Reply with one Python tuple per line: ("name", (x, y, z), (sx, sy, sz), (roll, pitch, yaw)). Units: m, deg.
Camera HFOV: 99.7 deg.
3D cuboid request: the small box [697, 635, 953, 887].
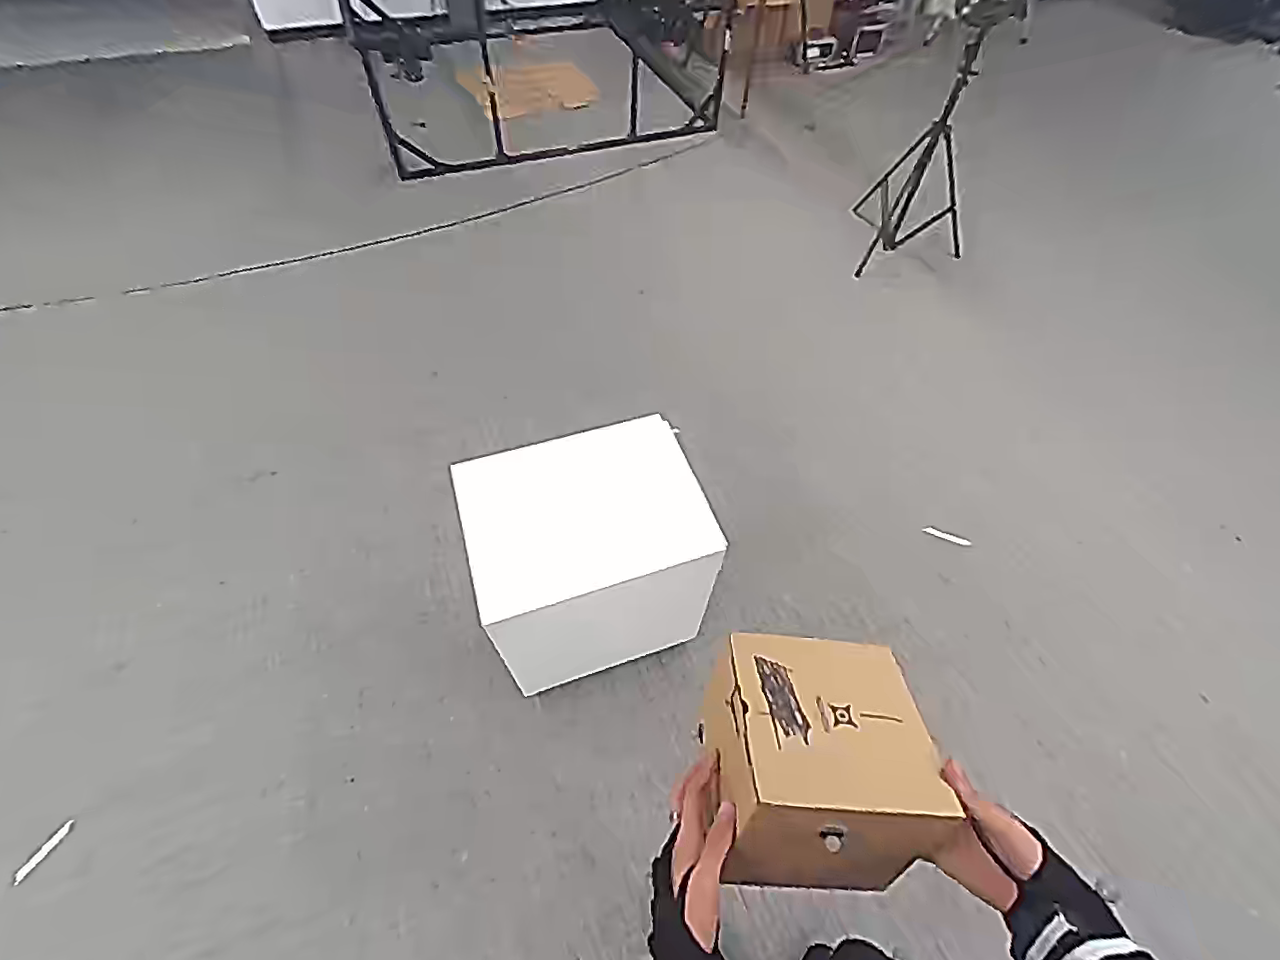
("small box", (0.158, 0.278, 0.538), (0.179, 0.176, 0.168), (6, 35, -6))
